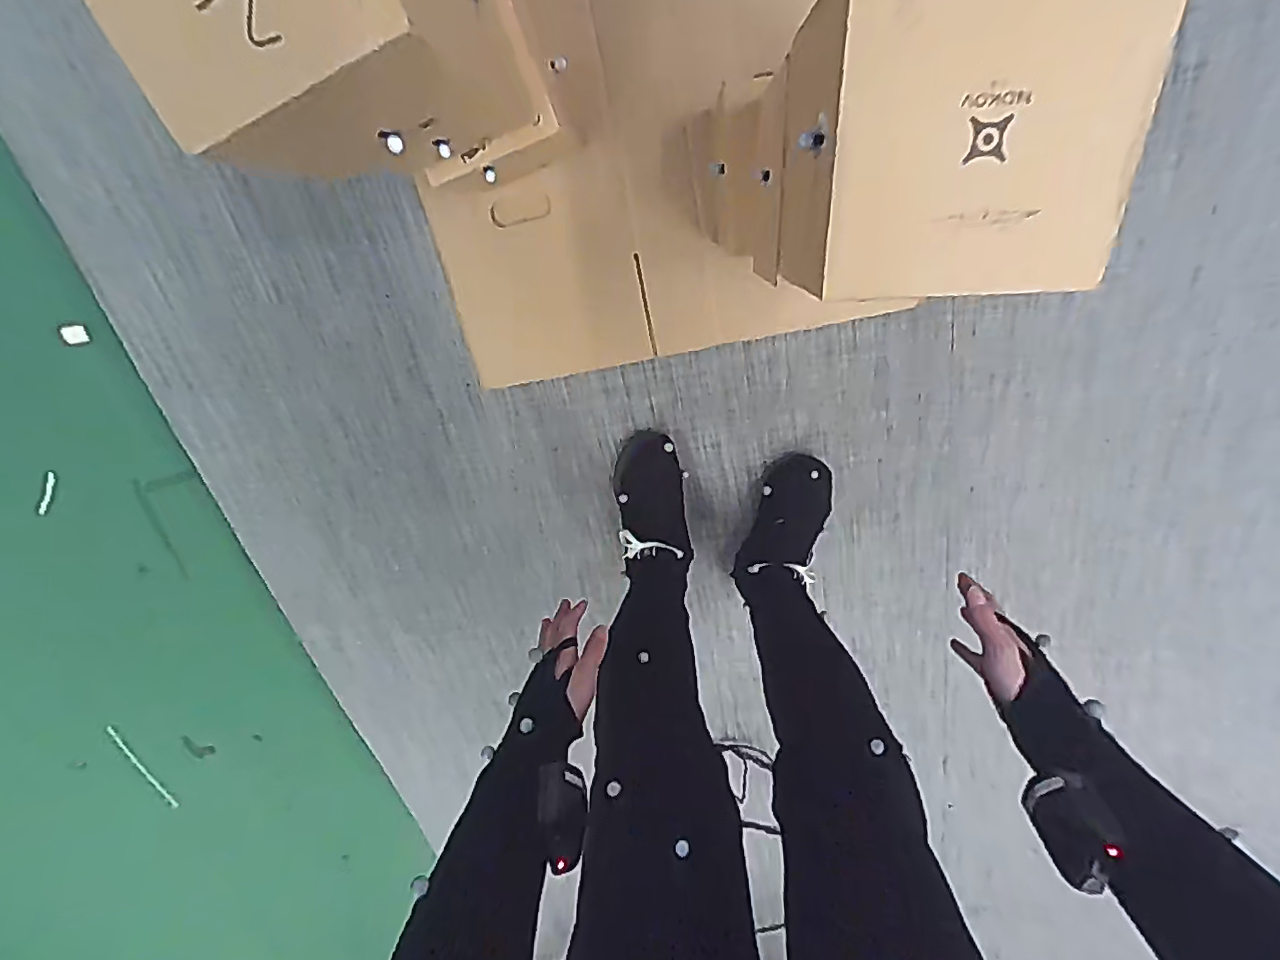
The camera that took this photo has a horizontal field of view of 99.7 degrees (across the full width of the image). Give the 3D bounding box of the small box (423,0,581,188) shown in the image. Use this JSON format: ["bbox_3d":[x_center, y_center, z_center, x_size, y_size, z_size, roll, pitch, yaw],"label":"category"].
[{"bbox_3d":[-0.185,-0.472,0.644,0.168,0.176,0.179,-16,113,12],"label":"small box"}]

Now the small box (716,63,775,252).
[{"bbox_3d":[0.182,-0.384,0.655,0.168,0.176,0.179,-5,114,7],"label":"small box"}]

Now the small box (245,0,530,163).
[{"bbox_3d":[-0.220,-0.411,0.493,0.168,0.176,0.179,-16,113,11],"label":"small box"}]

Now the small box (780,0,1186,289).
[{"bbox_3d":[0.193,-0.230,0.364,0.168,0.176,0.179,0,116,5],"label":"small box"}]

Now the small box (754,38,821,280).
[{"bbox_3d":[0.203,-0.293,0.513,0.168,0.176,0.179,-1,114,5],"label":"small box"}]
